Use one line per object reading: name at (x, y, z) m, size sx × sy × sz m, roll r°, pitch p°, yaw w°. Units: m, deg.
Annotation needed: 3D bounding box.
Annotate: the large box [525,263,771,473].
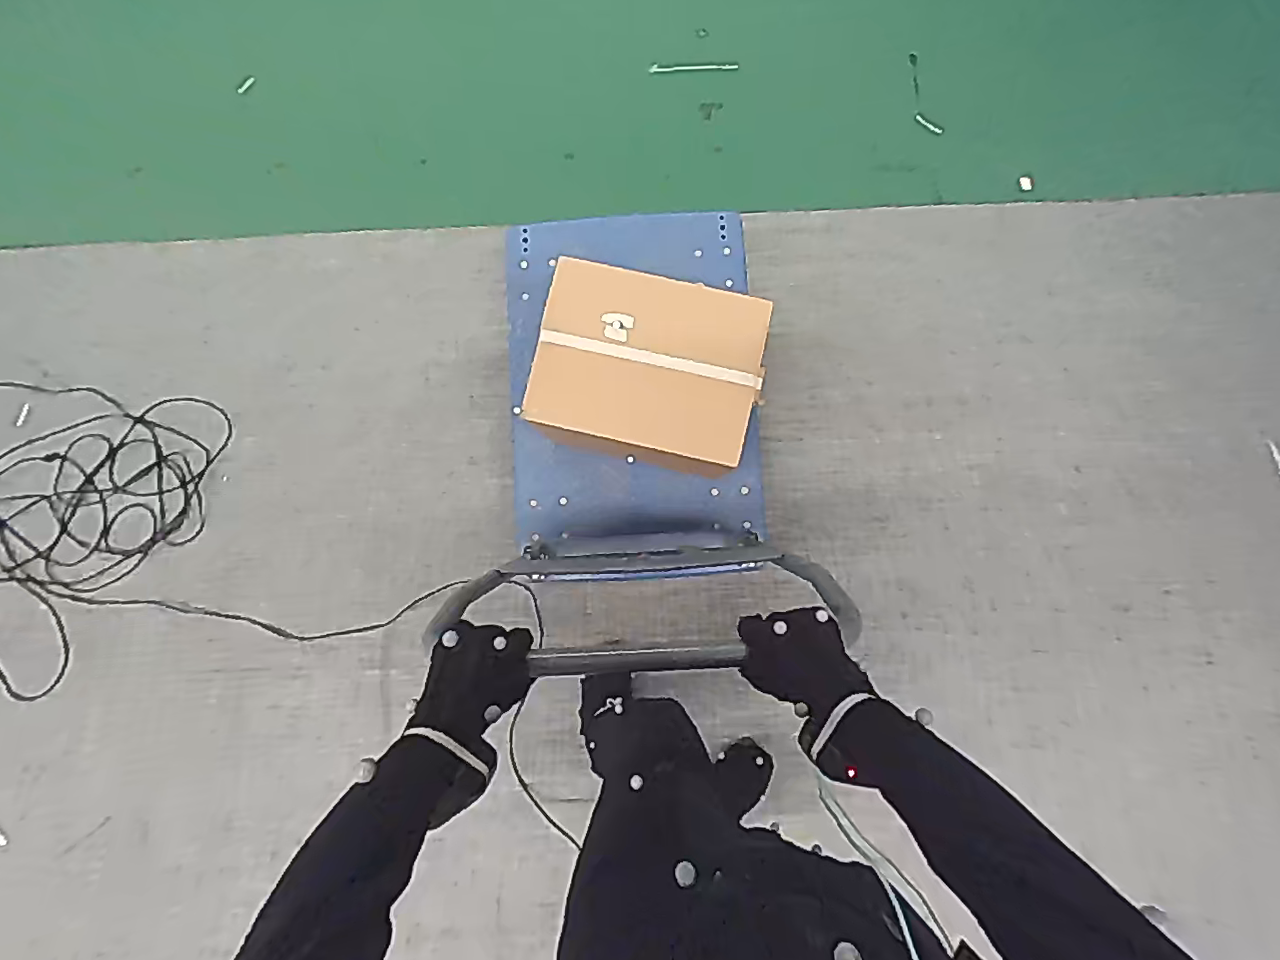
large box at (0.023, -0.206, 1.122) m, size 0.408 × 0.320 × 0.320 m, roll 12°, pitch 86°, yaw 4°
